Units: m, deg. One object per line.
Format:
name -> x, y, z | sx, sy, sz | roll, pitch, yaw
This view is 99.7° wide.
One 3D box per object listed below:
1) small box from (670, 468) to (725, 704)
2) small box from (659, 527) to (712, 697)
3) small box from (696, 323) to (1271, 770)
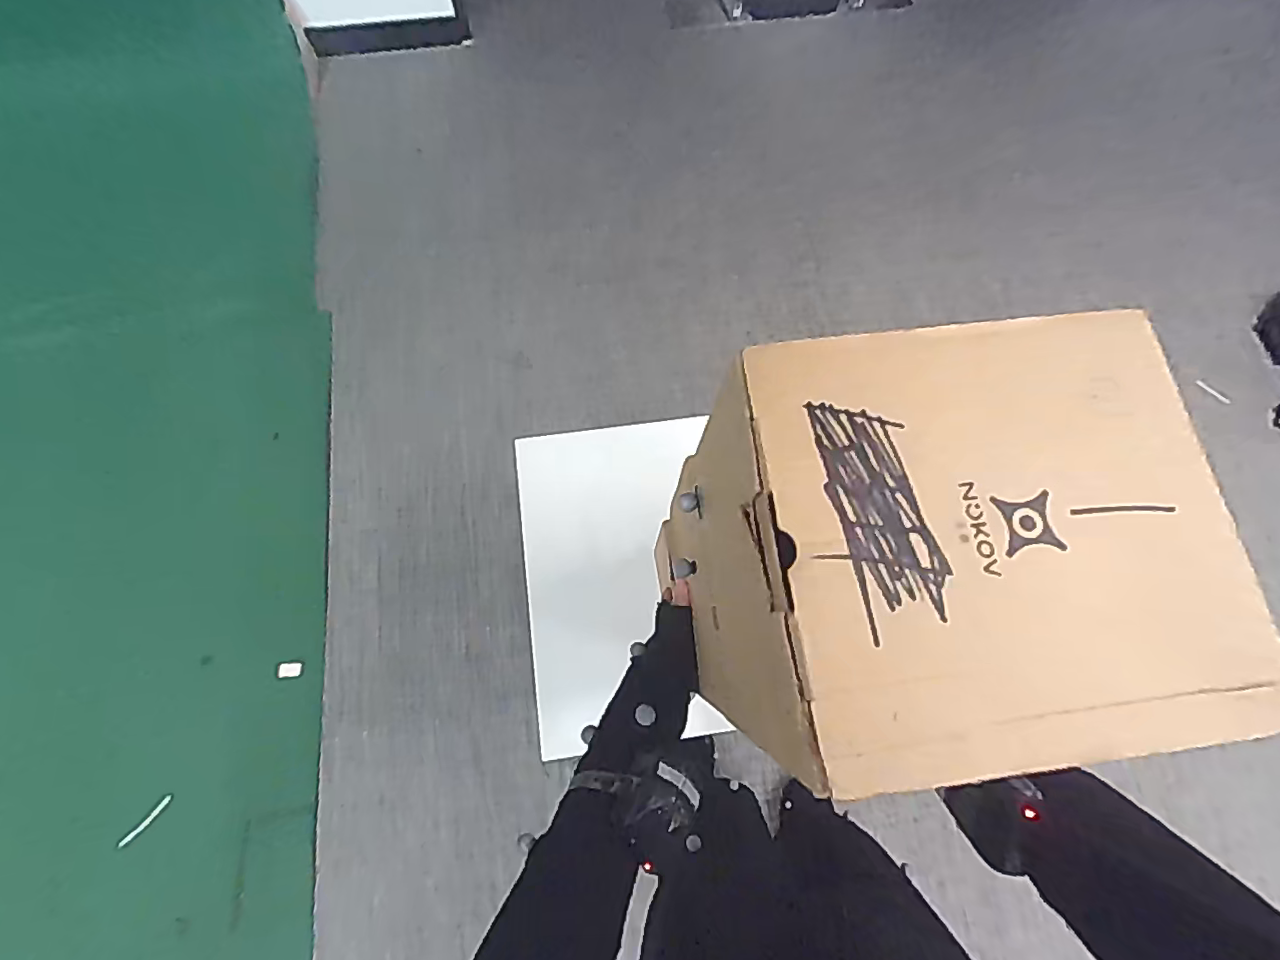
small box -> 0.124, 0.085, 0.449 | 0.168, 0.176, 0.179 | -10, 74, -5
small box -> 0.117, 0.138, 0.600 | 0.179, 0.176, 0.168 | -8, 73, -4
small box -> 0.129, 0.040, 0.287 | 0.179, 0.176, 0.168 | -5, 73, -4
